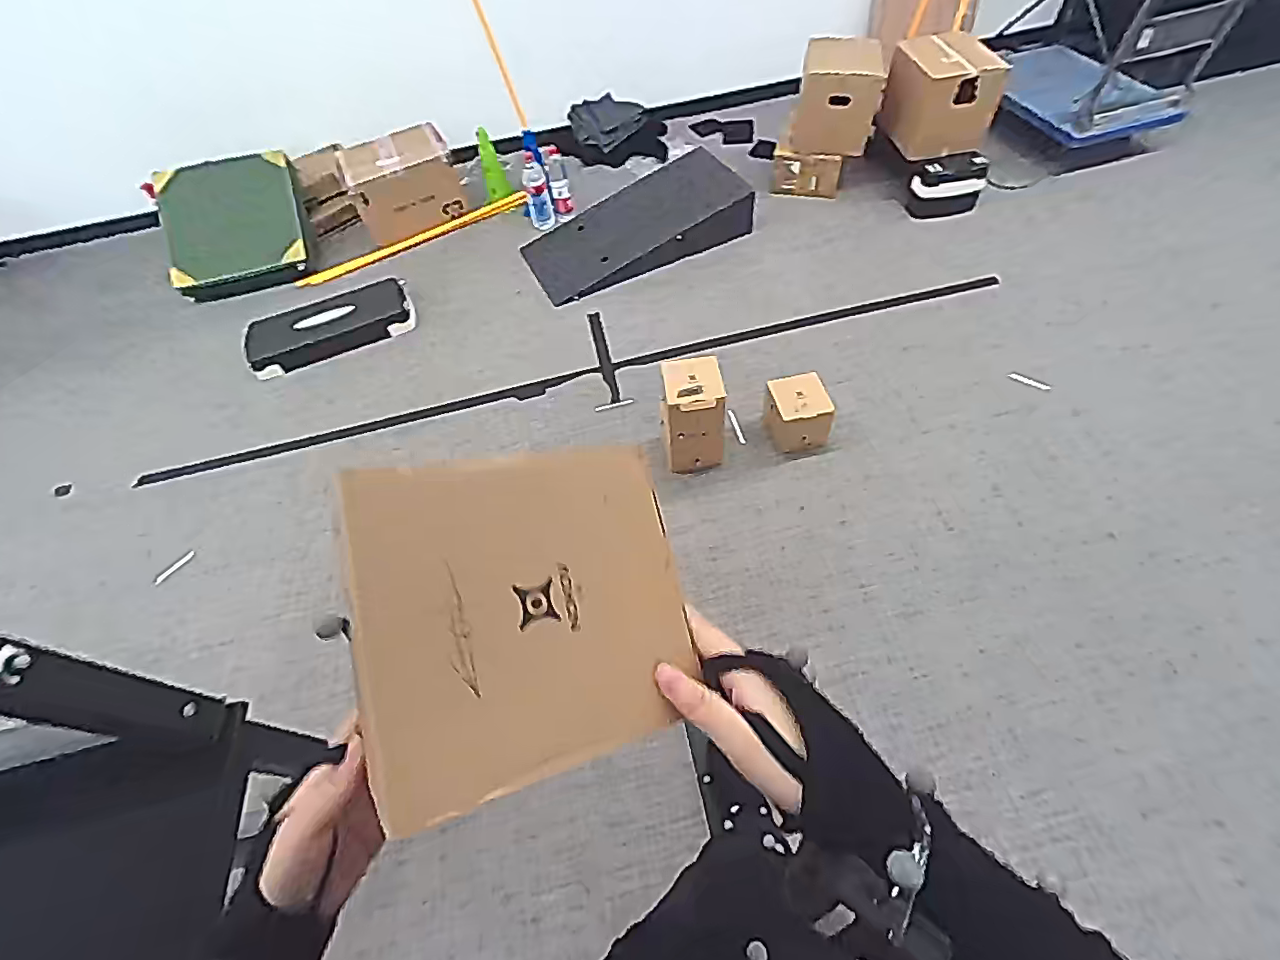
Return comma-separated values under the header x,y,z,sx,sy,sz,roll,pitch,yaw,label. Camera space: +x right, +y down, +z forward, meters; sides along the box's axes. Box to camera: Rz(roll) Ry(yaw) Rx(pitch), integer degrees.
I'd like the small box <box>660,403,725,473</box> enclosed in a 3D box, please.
x,y,z,sx,sy,sz,roll,pitch,yaw,label
0.164,-0.144,1.741,0.179,0.176,0.168,-10,55,-3,small box

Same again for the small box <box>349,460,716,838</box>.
x,y,z,sx,sy,sz,roll,pitch,yaw,label
-0.083,0.092,0.354,0.179,0.176,0.168,-5,75,-31,small box

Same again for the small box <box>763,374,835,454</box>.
x,y,z,sx,sy,sz,roll,pitch,yaw,label
0.505,-0.211,1.752,0.168,0.176,0.179,-11,56,-2,small box

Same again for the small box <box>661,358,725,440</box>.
x,y,z,sx,sy,sz,roll,pitch,yaw,label
0.155,-0.233,1.602,0.168,0.176,0.179,-7,55,1,small box
